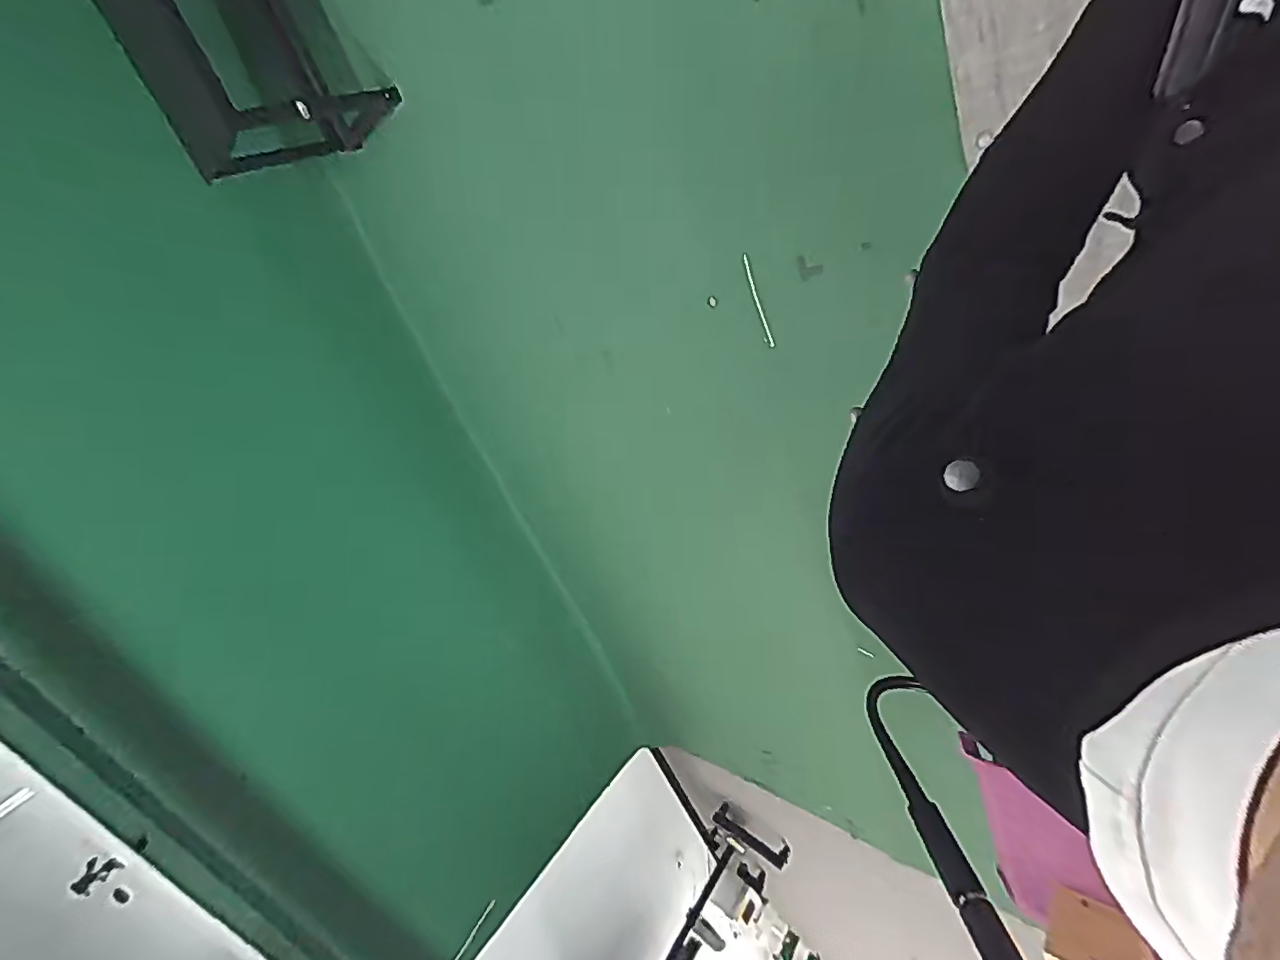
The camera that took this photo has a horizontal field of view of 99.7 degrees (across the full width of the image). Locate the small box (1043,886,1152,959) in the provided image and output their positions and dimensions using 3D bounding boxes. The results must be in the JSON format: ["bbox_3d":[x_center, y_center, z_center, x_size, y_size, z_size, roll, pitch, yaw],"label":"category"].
[{"bbox_3d":[1.054,1.097,1.241,0.168,0.176,0.179,-5,119,48],"label":"small box"}]
